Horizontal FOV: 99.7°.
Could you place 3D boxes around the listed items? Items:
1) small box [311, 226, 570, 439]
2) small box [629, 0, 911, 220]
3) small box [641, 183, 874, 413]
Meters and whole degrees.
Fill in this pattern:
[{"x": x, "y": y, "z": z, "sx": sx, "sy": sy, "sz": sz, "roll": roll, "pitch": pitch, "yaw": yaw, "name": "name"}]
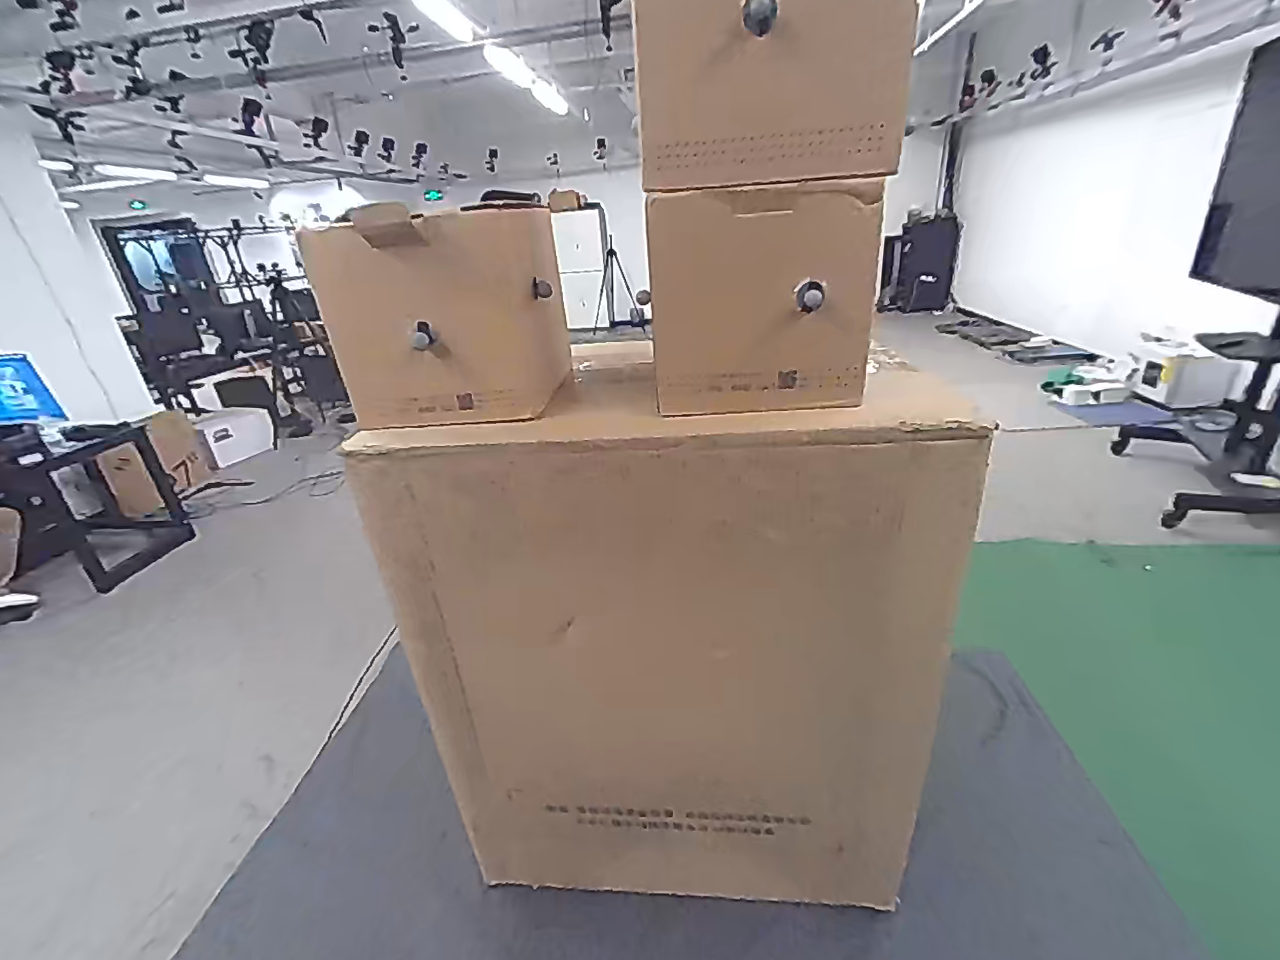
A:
[{"x": -0.170, "y": -0.144, "z": 0.532, "sx": 0.168, "sy": 0.176, "sz": 0.179, "roll": -4, "pitch": 27, "yaw": 4, "name": "small box"}, {"x": 0.093, "y": -0.295, "z": 0.420, "sx": 0.179, "sy": 0.176, "sz": 0.168, "roll": 1, "pitch": 27, "yaw": 10, "name": "small box"}, {"x": 0.094, "y": -0.164, "z": 0.487, "sx": 0.168, "sy": 0.176, "sz": 0.179, "roll": 0, "pitch": 26, "yaw": 6, "name": "small box"}]
